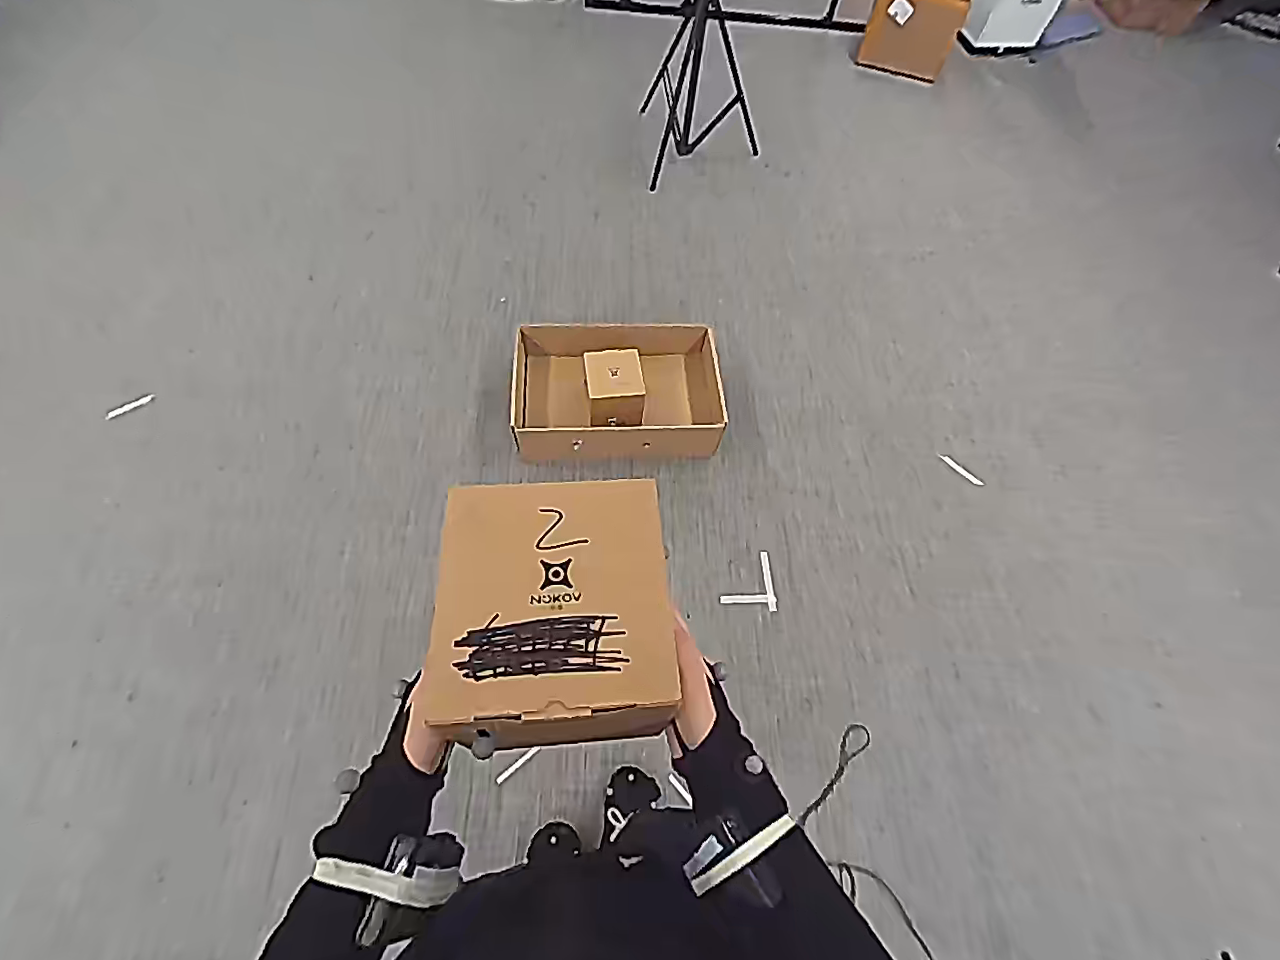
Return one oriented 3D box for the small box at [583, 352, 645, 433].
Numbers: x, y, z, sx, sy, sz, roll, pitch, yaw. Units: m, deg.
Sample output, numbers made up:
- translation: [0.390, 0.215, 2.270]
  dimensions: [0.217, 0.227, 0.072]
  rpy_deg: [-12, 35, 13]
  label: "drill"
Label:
- translation: [-0.085, -0.268, 1.659]
  dimensions: [0.168, 0.176, 0.179]
  rpy_deg: [-7, 63, -8]
  label: "small box"
